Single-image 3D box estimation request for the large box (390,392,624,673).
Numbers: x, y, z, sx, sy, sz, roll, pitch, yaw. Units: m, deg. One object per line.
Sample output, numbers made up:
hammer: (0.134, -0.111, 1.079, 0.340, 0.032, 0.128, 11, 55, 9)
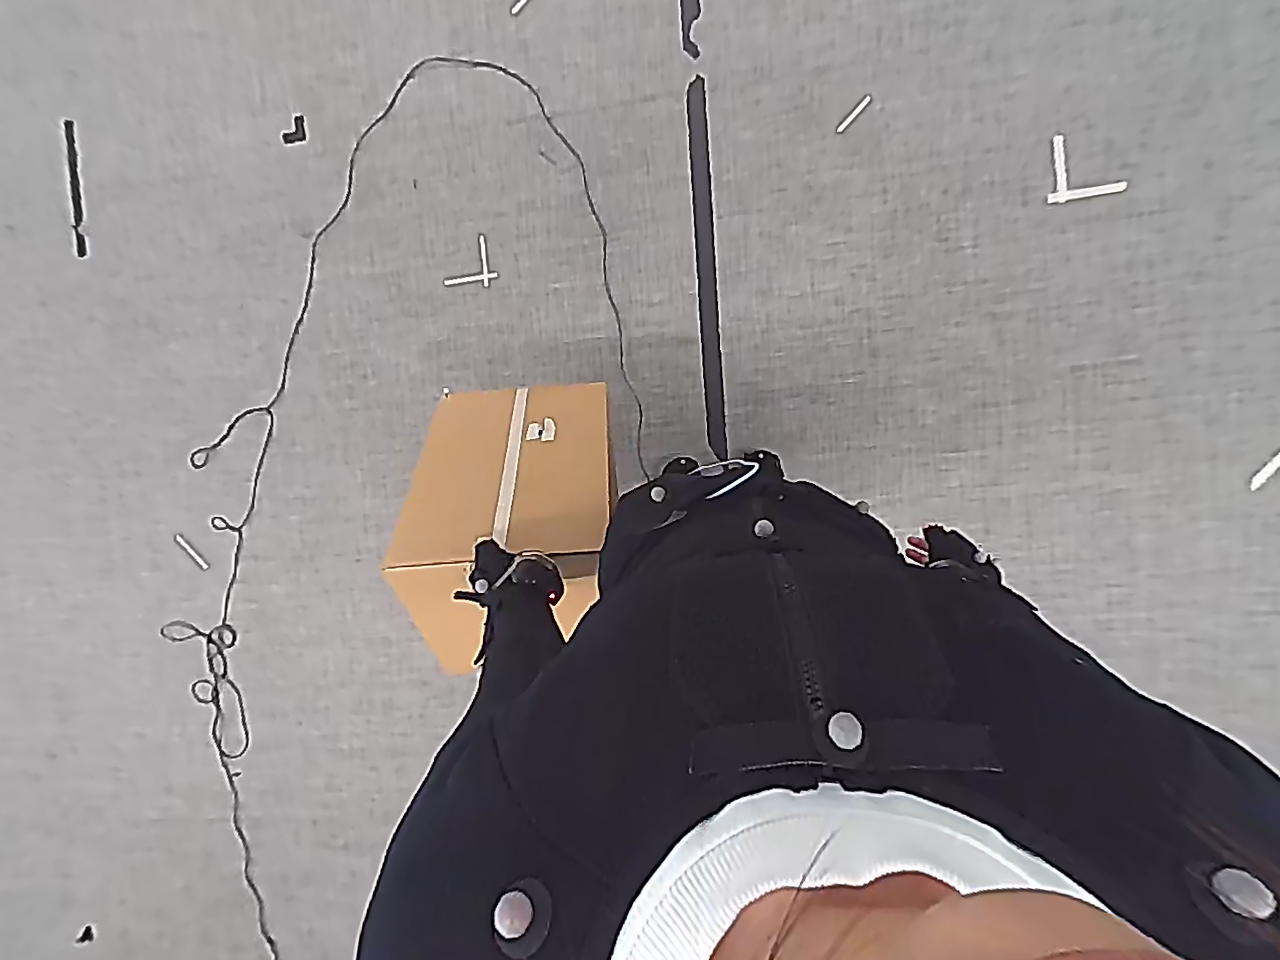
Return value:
large box: (-0.201, 0.087, 0.991, 0.320, 0.408, 0.320, -4, 133, 0)
